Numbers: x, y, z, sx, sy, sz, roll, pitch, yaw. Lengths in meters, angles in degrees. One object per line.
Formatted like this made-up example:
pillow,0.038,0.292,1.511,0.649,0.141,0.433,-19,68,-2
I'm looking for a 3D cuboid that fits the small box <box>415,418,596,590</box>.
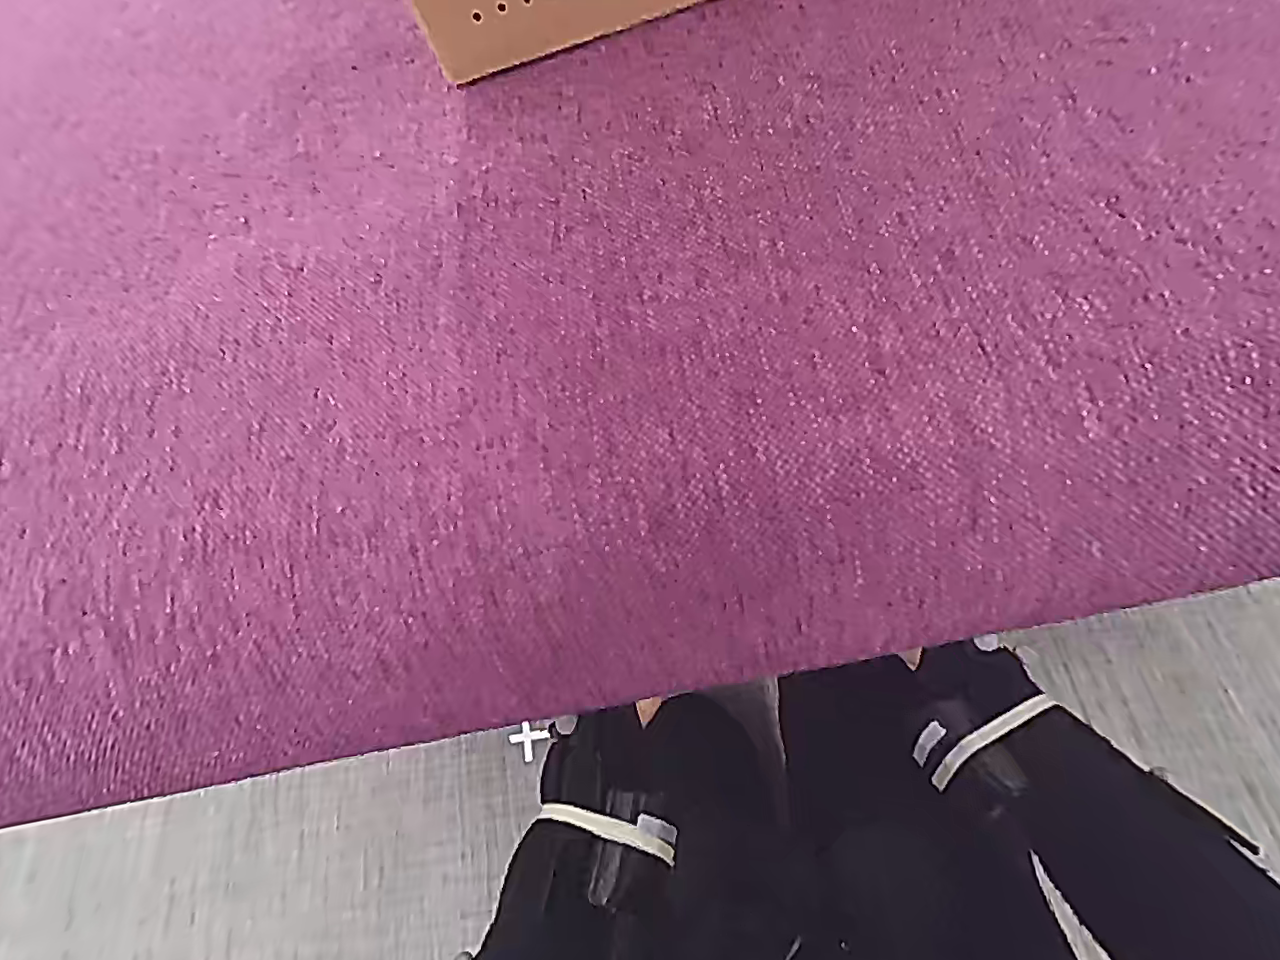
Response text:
small box,-0.163,0.041,0.698,0.179,0.176,0.168,-13,71,7
